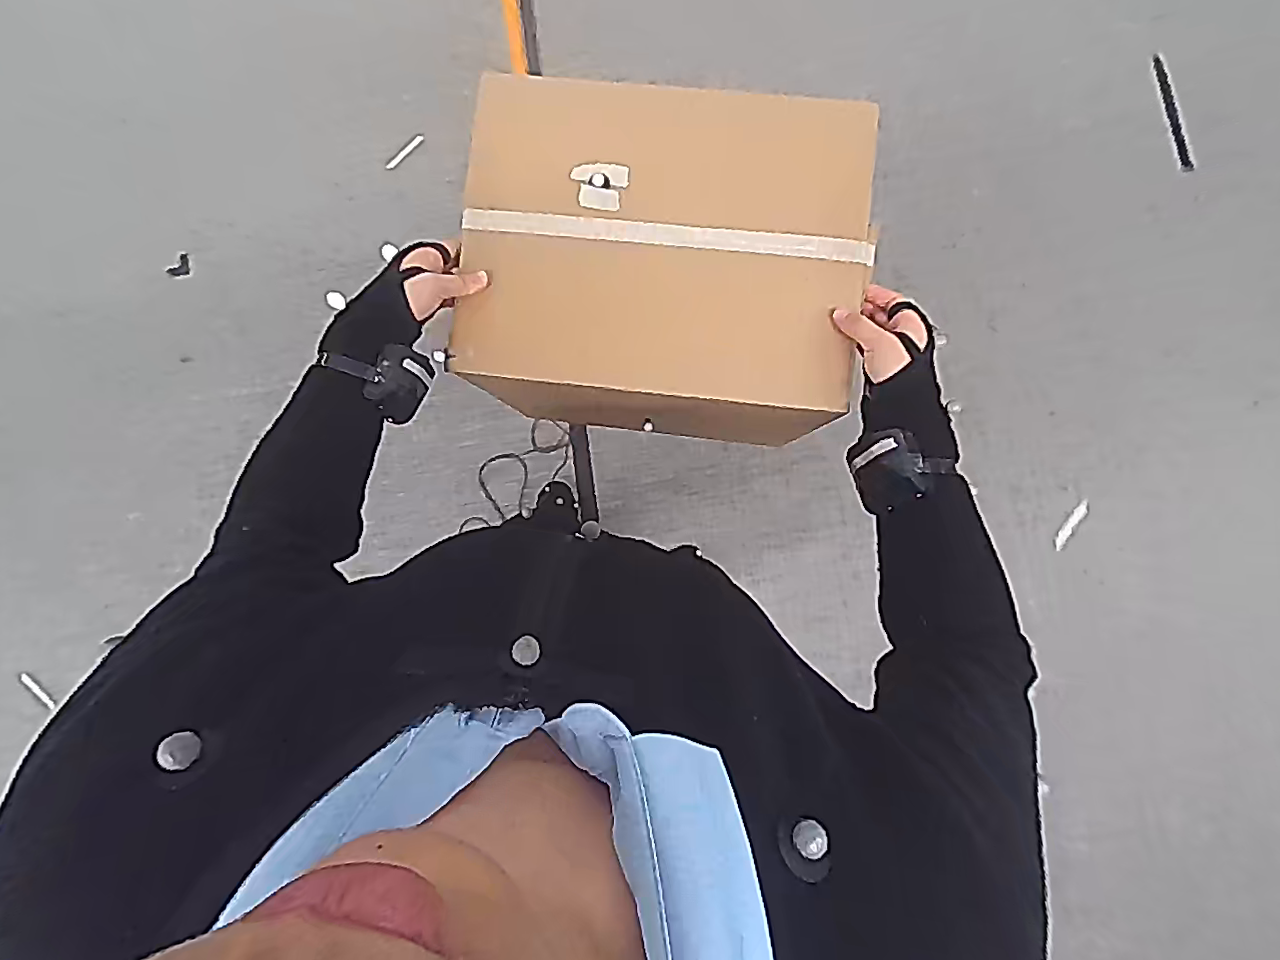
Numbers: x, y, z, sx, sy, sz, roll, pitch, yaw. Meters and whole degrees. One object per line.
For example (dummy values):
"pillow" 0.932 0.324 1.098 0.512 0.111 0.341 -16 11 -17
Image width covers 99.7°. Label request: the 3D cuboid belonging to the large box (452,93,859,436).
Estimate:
"large box" 0.025 -0.237 0.701 0.408 0.320 0.320 6 87 4
